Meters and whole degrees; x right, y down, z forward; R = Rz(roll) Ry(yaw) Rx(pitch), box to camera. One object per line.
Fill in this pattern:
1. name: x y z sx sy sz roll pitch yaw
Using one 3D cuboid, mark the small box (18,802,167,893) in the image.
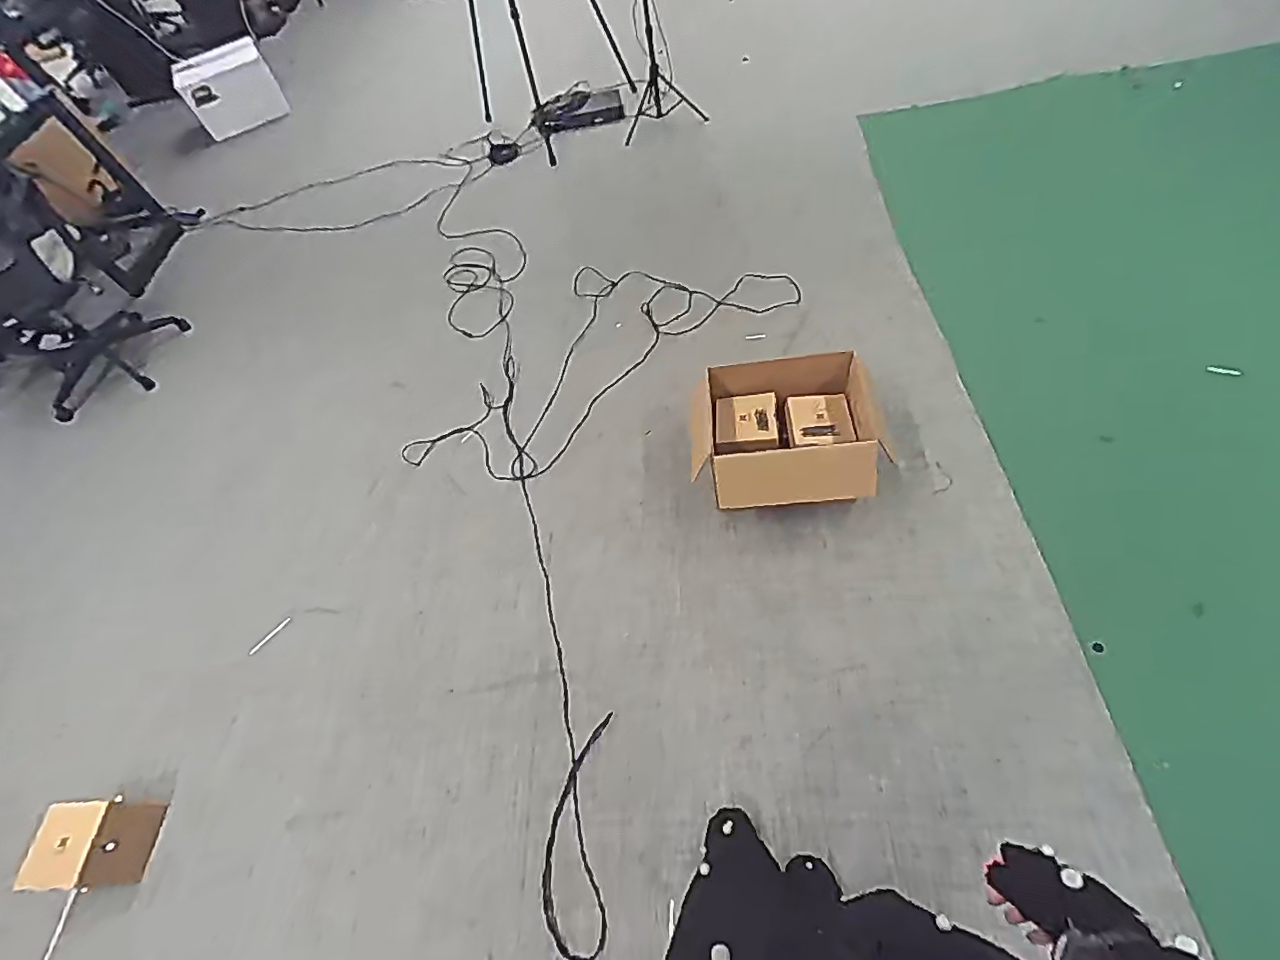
1. small box: -1.336 0.905 1.339 0.168 0.176 0.179 -7 59 7
